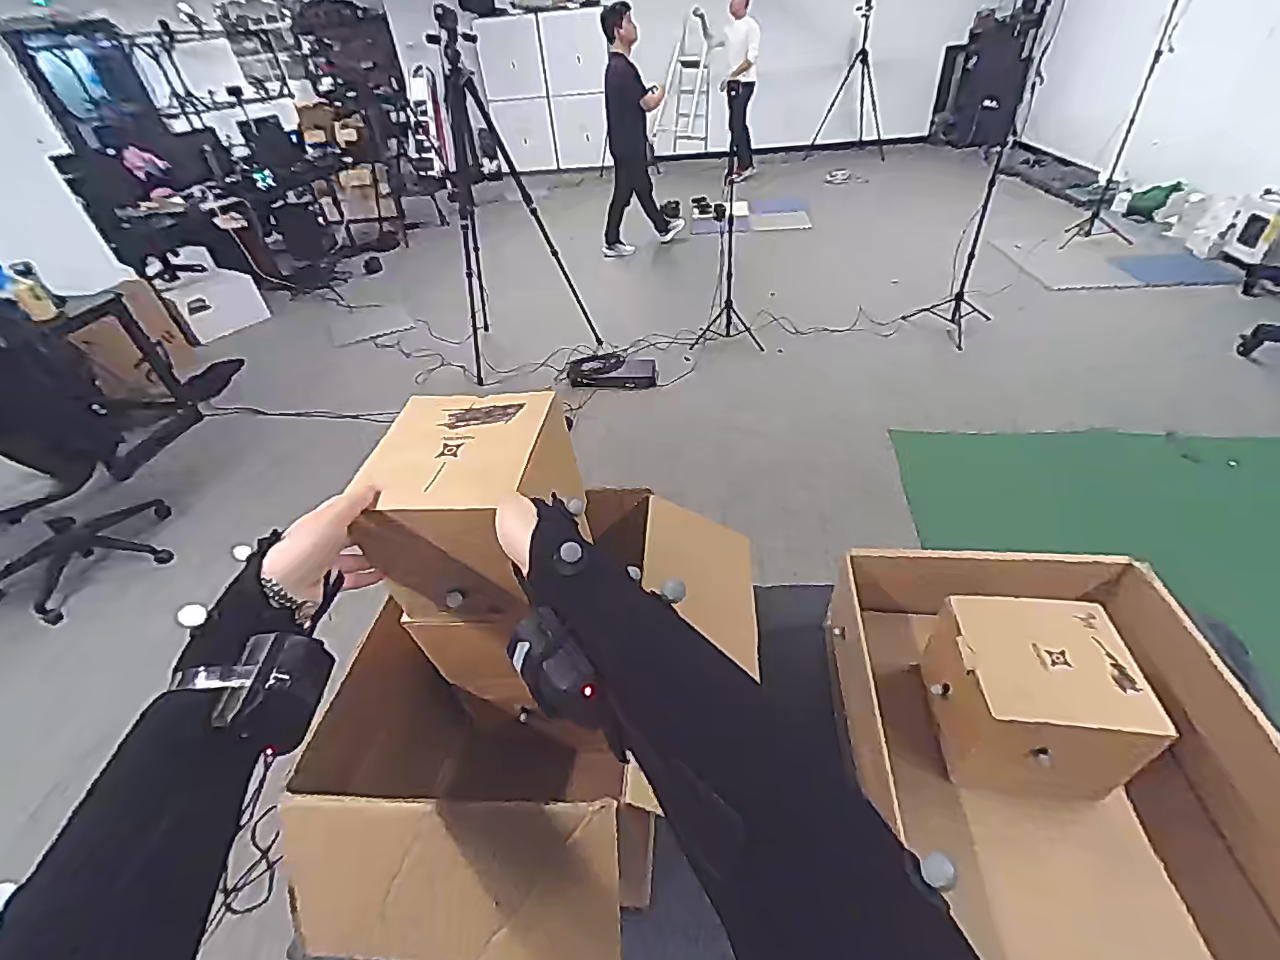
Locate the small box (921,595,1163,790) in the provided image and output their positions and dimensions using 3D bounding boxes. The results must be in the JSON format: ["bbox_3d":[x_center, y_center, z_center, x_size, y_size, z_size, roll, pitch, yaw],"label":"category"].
[{"bbox_3d":[0.468,0.262,0.672,0.179,0.176,0.168,0,42,10],"label":"small box"}]

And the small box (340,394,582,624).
[{"bbox_3d":[-0.164,0.028,0.569,0.168,0.176,0.179,-1,44,9],"label":"small box"}]
